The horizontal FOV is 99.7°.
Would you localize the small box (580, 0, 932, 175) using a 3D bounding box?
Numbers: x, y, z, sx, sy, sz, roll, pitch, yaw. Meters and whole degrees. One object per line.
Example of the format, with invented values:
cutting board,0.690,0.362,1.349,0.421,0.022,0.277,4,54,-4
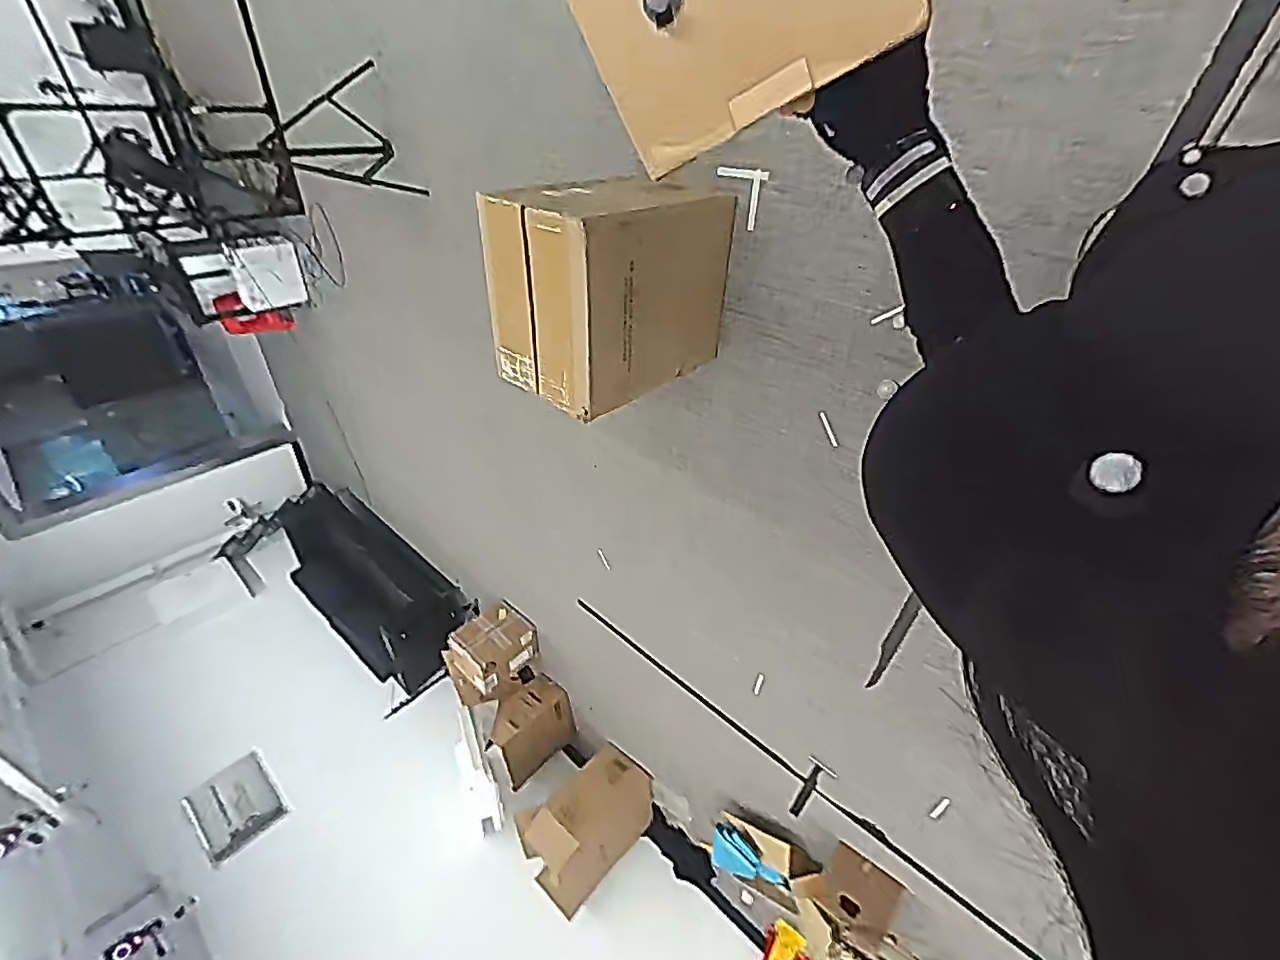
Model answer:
small box,0.058,-0.328,0.333,0.168,0.179,0.176,-17,121,28
